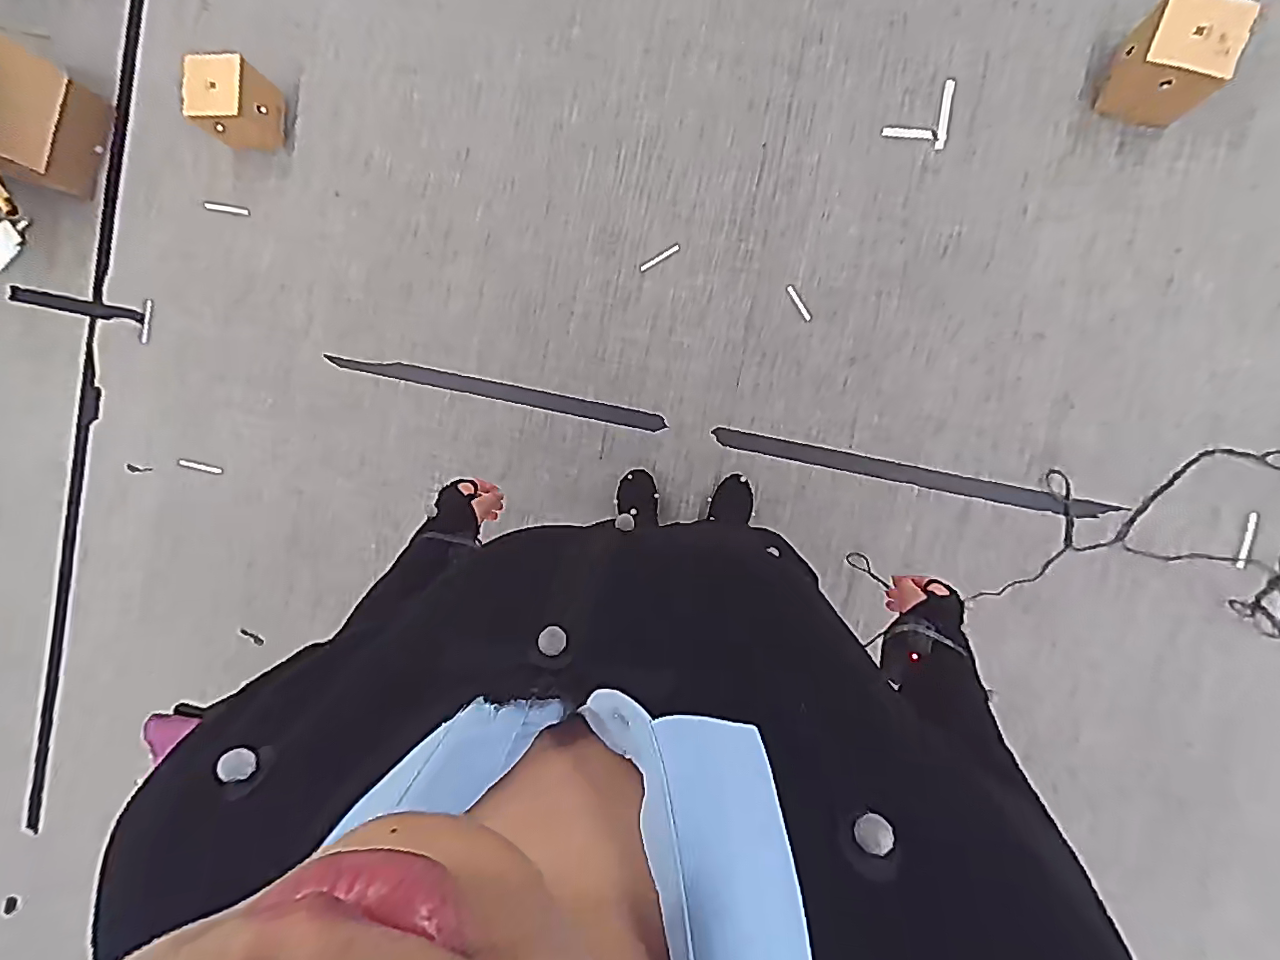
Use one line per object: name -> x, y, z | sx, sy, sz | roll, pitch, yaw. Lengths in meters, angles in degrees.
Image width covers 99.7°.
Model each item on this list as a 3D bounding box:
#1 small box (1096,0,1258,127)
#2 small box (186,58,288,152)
small box -> 1.212, -0.952, 1.238 | 0.179, 0.176, 0.168 | 20, 94, 7
small box -> -1.159, -1.078, 1.565 | 0.179, 0.176, 0.168 | 4, 92, 8
